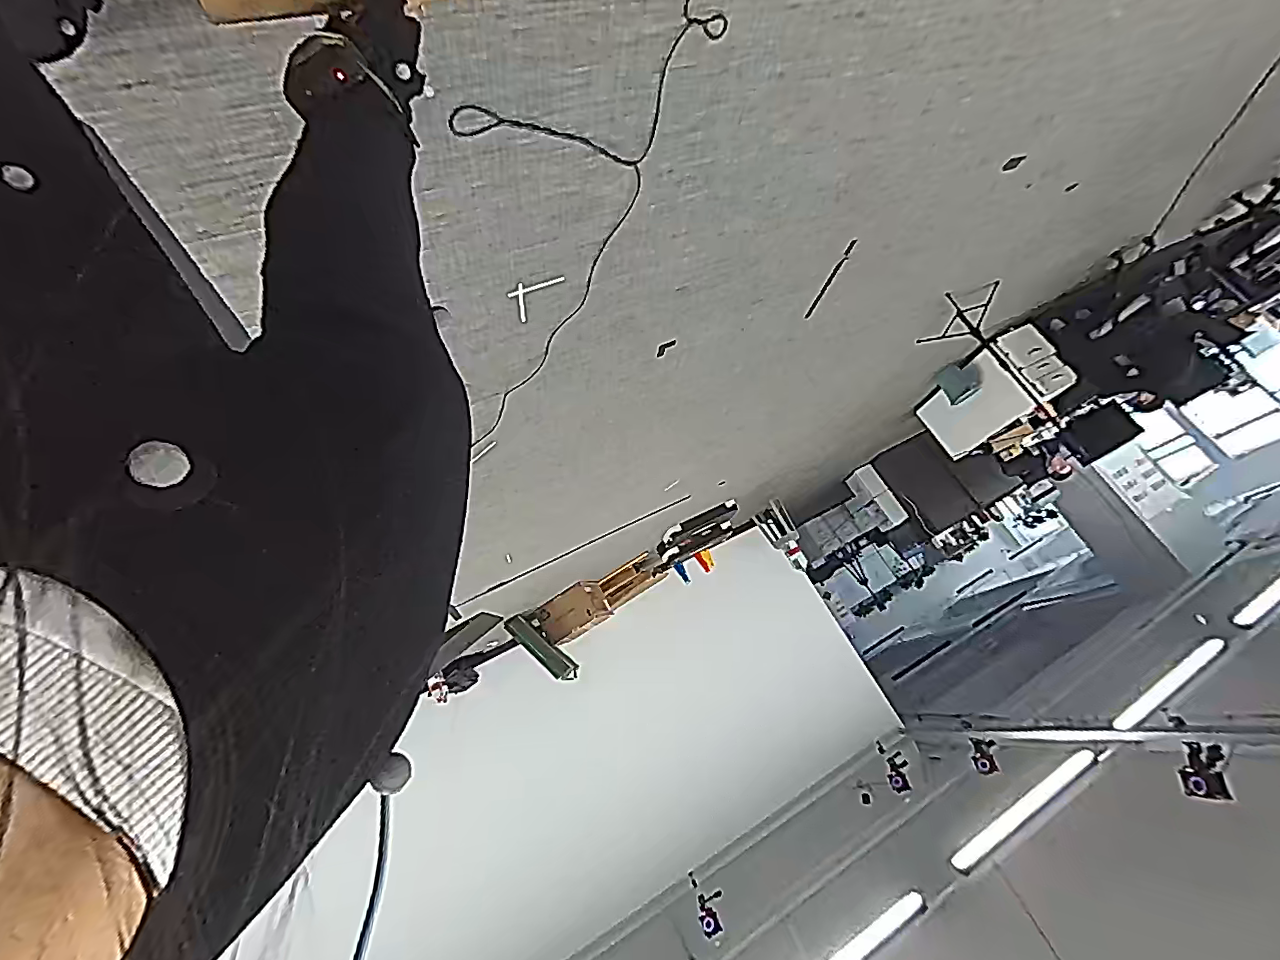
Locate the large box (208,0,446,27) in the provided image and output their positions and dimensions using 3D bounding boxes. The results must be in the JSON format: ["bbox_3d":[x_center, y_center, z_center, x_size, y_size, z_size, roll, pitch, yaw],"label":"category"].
[{"bbox_3d":[-0.296,-0.675,0.409,0.320,0.320,0.408,-25,161,-18],"label":"large box"}]
